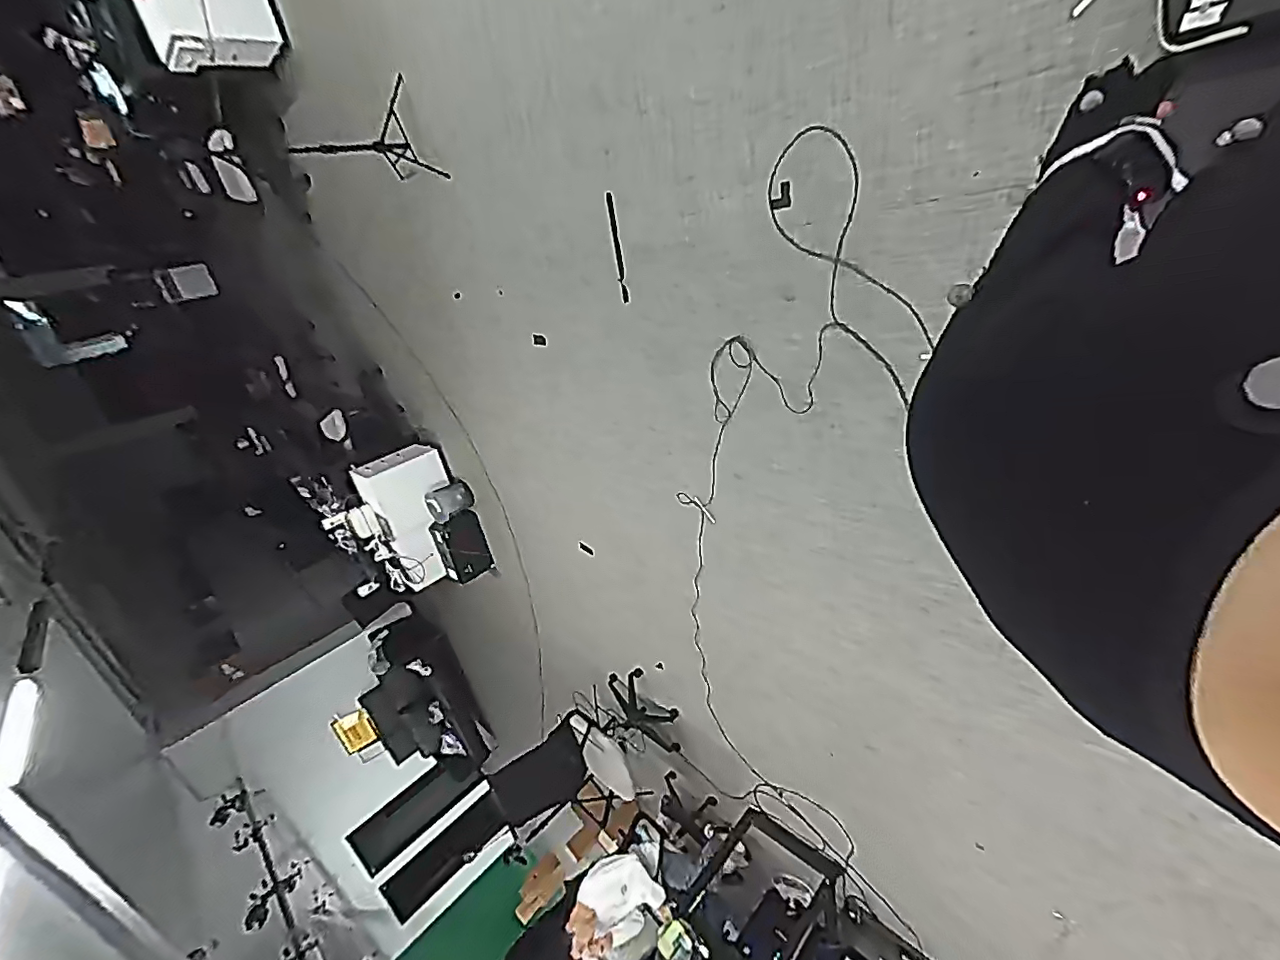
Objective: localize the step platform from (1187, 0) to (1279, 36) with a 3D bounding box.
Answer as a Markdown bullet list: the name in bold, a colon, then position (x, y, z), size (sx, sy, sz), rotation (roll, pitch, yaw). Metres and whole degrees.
- **step platform**: position (1.117, -0.813, 0.621), size (0.684, 0.204, 0.286), rotation (11, 123, 44)
